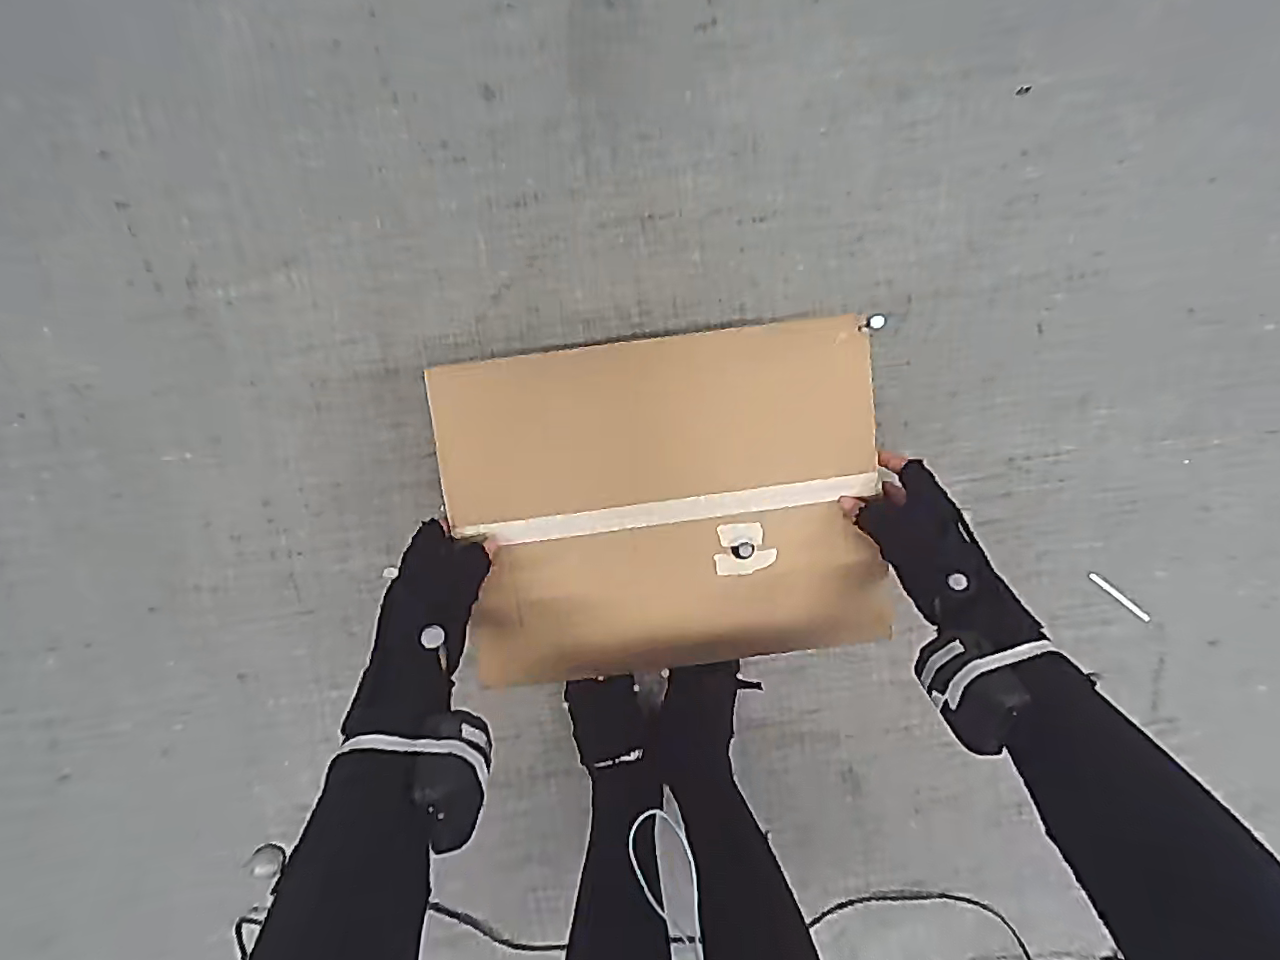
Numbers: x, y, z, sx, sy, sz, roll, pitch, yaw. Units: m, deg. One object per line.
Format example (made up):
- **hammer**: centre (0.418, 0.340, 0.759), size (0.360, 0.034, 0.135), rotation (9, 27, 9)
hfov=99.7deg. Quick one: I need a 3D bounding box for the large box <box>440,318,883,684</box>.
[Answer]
- **large box**: centre (0.023, 0.011, 0.672), size (0.408, 0.320, 0.320), rotation (-8, 97, -1)
